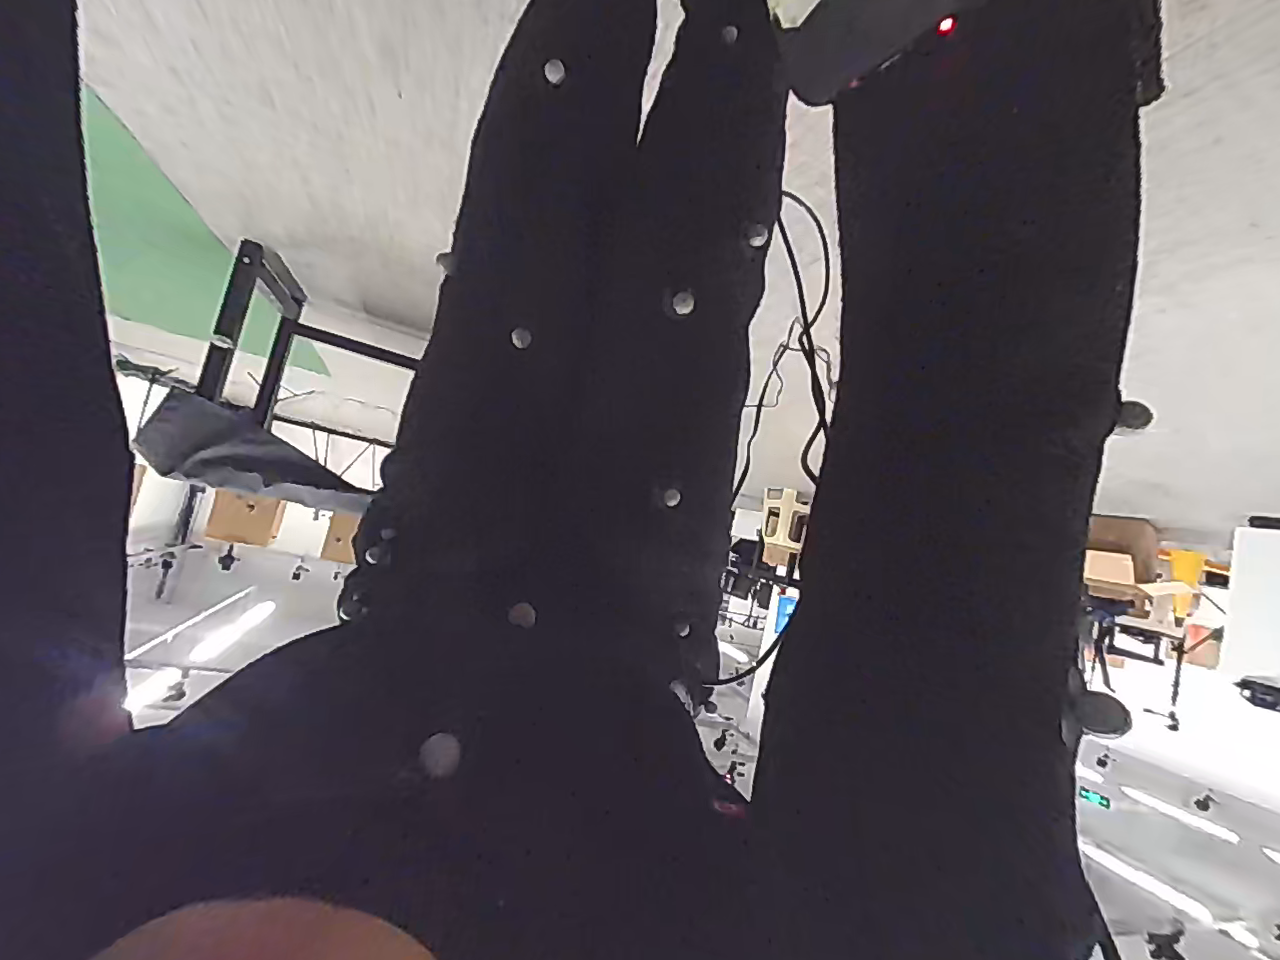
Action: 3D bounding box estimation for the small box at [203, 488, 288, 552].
[{"bbox_3d":[-1.248,0.123,1.722,0.168,0.176,0.179,15,174,-25],"label":"small box"}]
